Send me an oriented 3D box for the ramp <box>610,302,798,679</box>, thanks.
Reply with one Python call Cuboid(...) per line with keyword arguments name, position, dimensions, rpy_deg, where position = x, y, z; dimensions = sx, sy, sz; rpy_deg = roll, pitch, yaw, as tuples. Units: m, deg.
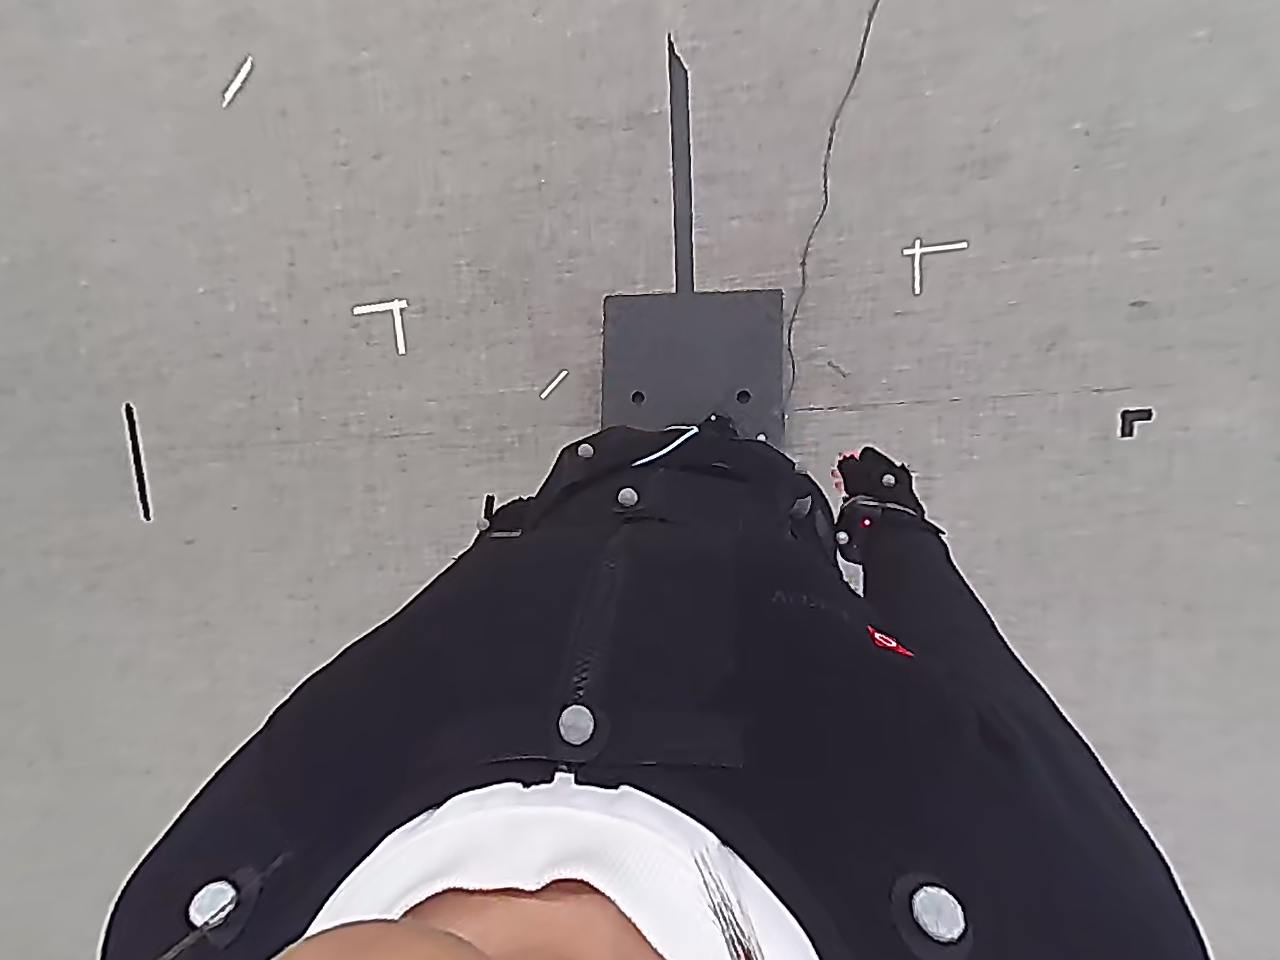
Cuboid(name="ramp", position=(0.159, 0.014, 1.460), dimensions=(0.509, 0.206, 0.991), rpy_deg=(-2, 94, 10))
